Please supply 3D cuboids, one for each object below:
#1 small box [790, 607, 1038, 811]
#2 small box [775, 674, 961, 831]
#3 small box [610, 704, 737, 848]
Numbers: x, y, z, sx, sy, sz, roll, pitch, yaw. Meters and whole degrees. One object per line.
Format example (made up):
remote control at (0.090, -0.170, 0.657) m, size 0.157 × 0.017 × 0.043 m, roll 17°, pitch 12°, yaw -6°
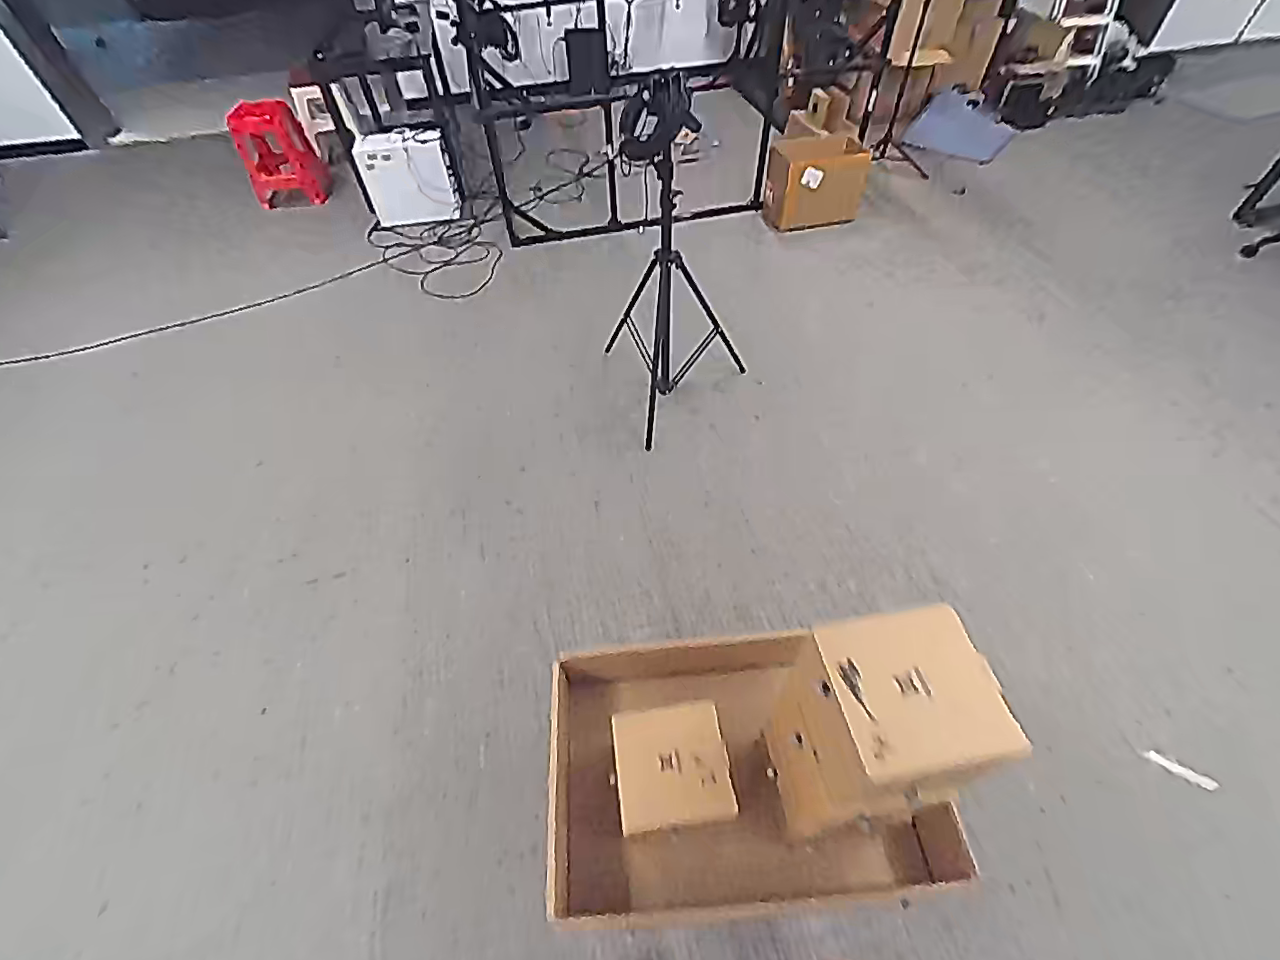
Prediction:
small box at (0.297, 0.270, 0.634) m, size 0.179 × 0.176 × 0.168 m, roll -8°, pitch 50°, yaw -4°
small box at (0.301, 0.377, 0.758) m, size 0.168 × 0.176 × 0.179 m, roll -7°, pitch 50°, yaw -3°
small box at (0.050, 0.488, 0.887) m, size 0.179 × 0.176 × 0.168 m, roll -7°, pitch 51°, yaw -4°
